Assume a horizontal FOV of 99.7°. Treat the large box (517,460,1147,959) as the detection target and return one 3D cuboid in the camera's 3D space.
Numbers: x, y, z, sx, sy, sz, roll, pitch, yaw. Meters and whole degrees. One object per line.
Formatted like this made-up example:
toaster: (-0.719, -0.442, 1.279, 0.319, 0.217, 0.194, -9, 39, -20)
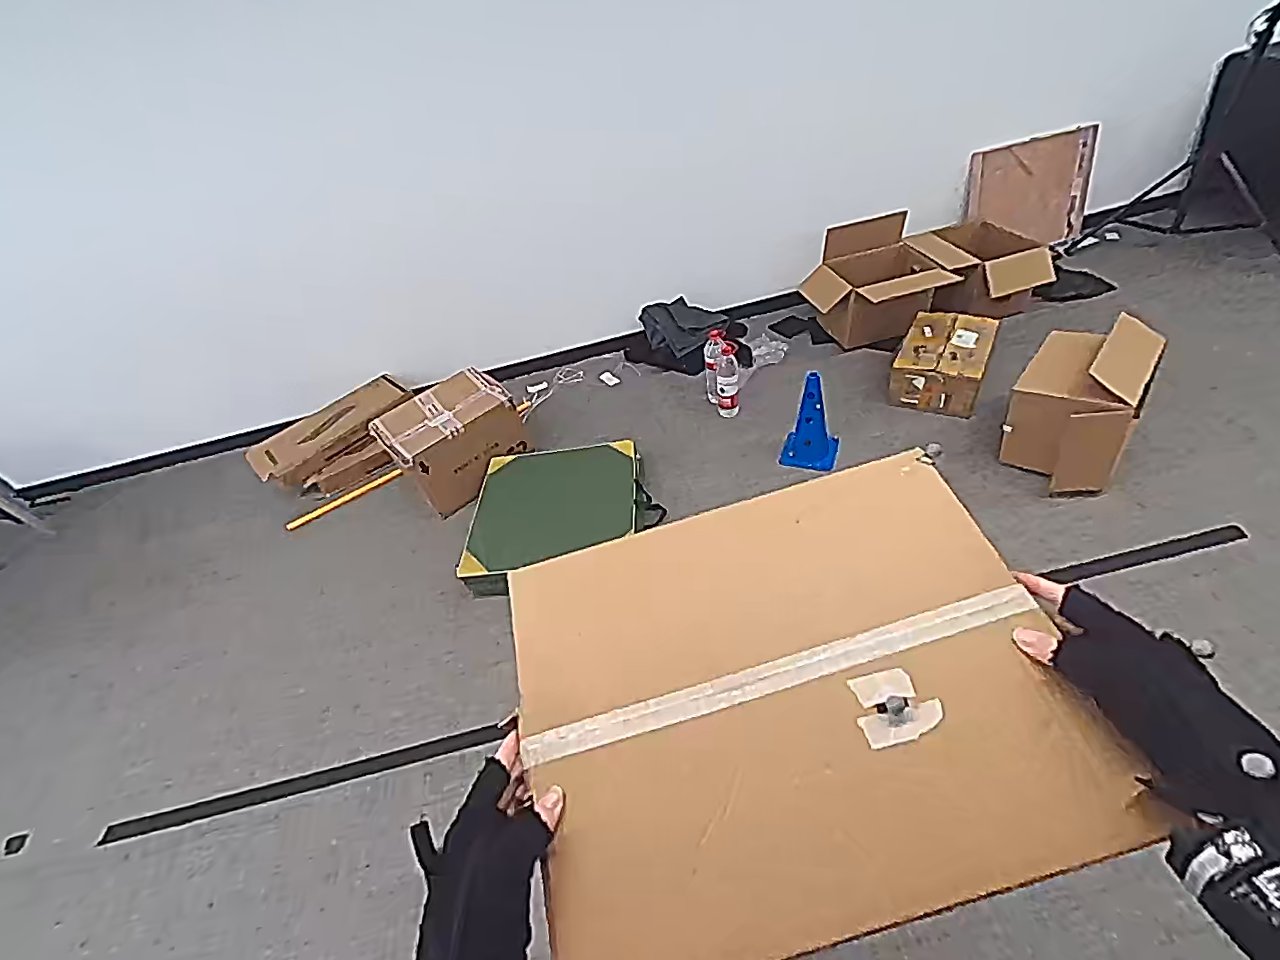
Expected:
large box: (0.130, 0.240, 0.554, 0.408, 0.320, 0.320, -17, 55, -1)
